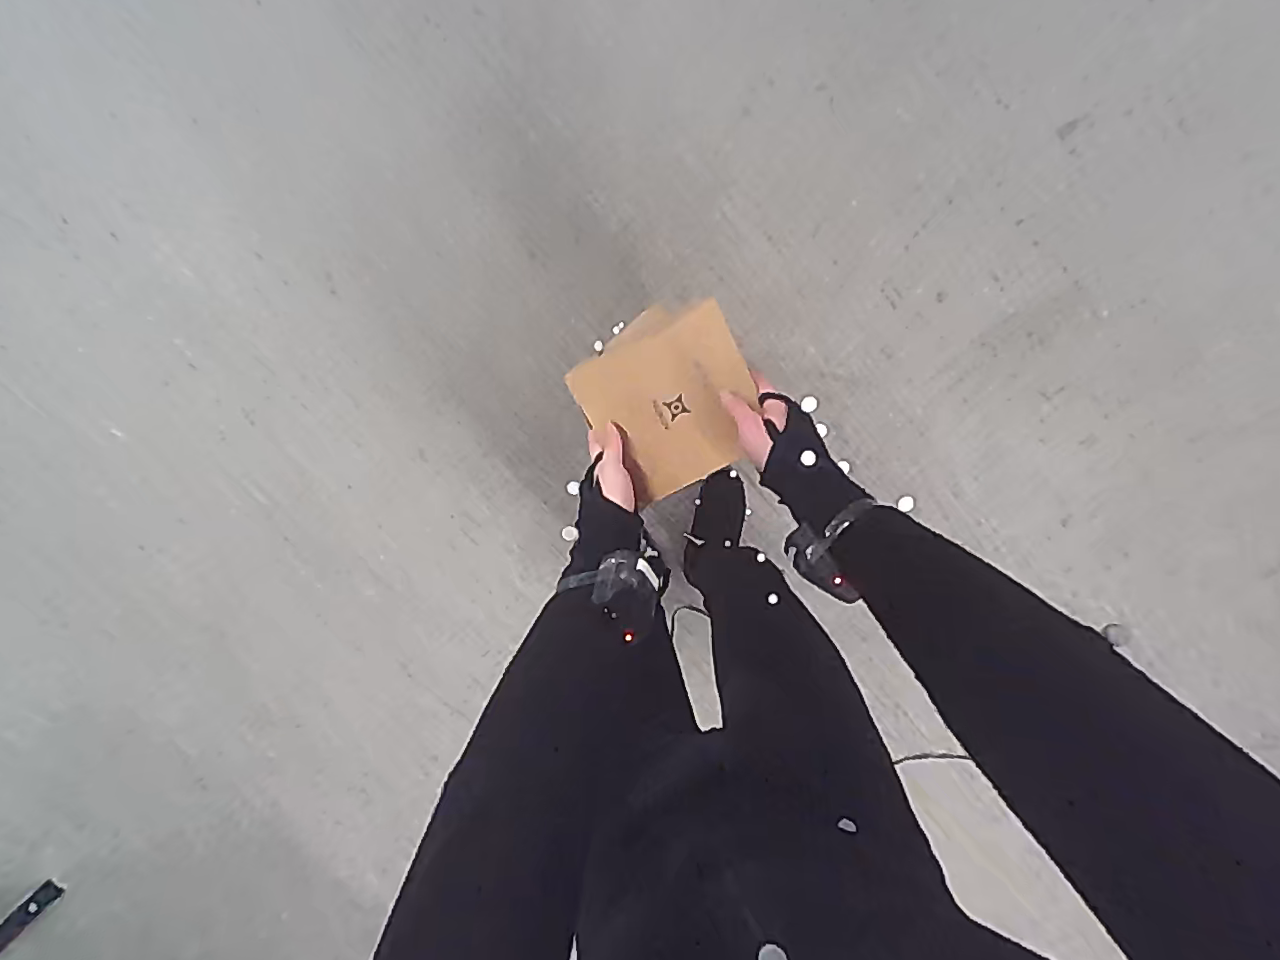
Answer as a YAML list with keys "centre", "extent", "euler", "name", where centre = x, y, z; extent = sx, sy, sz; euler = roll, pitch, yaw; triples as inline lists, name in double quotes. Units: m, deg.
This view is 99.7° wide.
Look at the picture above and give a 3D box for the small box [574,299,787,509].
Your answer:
- centre: [0.044, -0.094, 0.641]
  extent: [0.179, 0.176, 0.168]
  euler: [-28, 105, 7]
  name: "small box"
